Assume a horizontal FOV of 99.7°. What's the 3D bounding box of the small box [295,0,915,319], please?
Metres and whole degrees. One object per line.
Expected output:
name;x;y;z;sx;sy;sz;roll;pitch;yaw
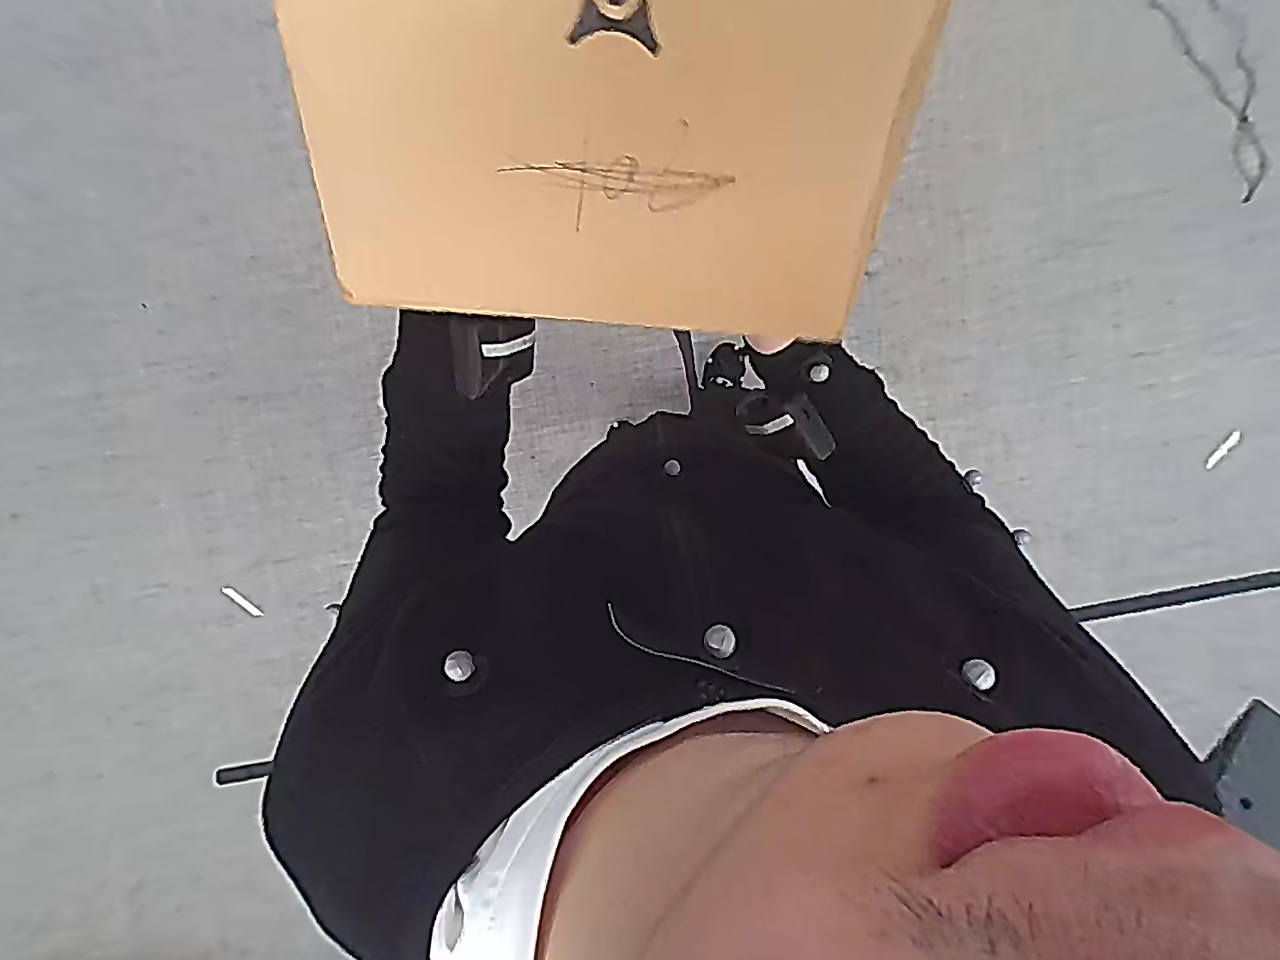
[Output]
small box;-0.009;-0.177;0.205;0.168;0.176;0.179;2;127;-1
